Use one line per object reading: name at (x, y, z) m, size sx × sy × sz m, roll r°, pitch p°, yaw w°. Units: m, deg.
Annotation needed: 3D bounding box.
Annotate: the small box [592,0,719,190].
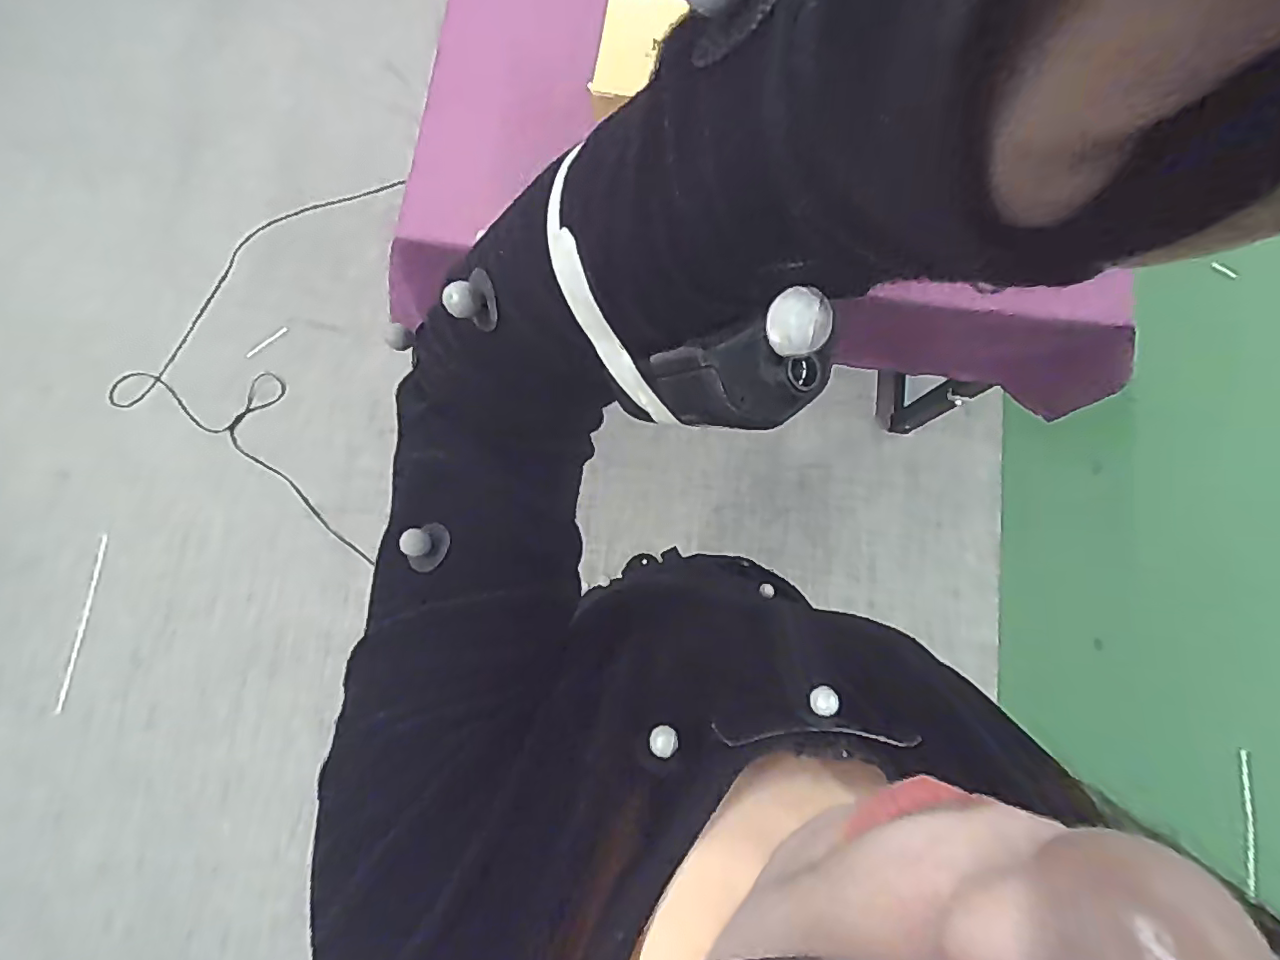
small box at (0.023, -0.601, 0.855) m, size 0.168 × 0.176 × 0.179 m, roll 8°, pitch 81°, yaw 1°
